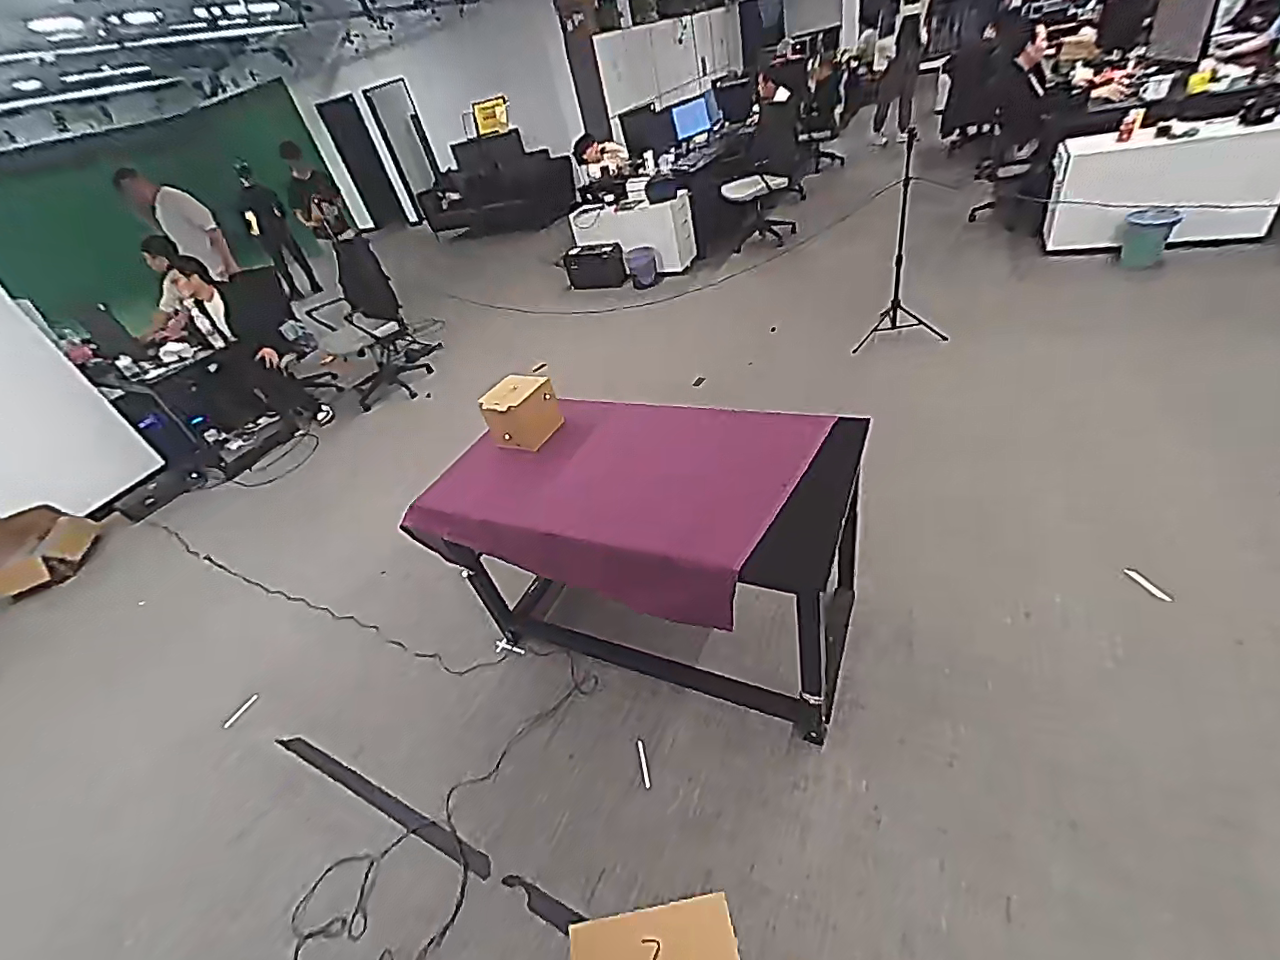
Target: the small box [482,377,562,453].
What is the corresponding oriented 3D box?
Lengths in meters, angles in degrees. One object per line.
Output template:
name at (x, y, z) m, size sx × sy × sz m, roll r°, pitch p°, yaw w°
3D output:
small box at (-0.370, -0.211, 1.741) m, size 0.168 × 0.176 × 0.179 m, roll 9°, pitch 45°, yaw 29°
